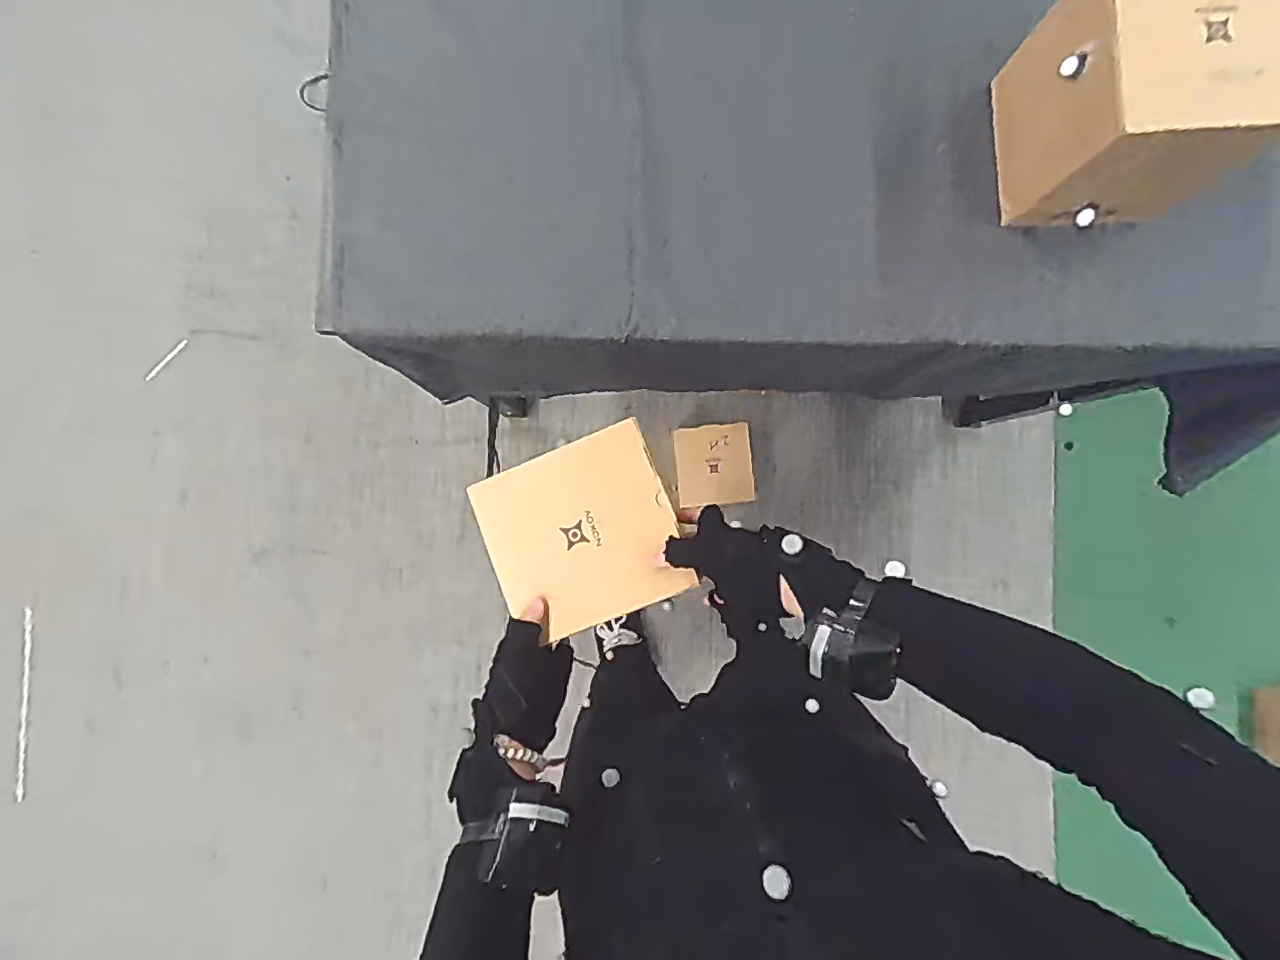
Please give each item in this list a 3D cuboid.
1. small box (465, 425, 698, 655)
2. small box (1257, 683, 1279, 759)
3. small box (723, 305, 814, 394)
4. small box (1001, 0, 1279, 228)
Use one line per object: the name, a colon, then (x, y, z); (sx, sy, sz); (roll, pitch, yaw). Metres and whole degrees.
small box: (-0.048, 0.064, 0.569); (0.179, 0.176, 0.168); (-22, 81, 5)
small box: (1.546, 0.562, 1.203); (0.179, 0.176, 0.168); (0, 88, 2)
small box: (0.291, -0.296, 1.249); (0.179, 0.176, 0.168); (-1, 88, 2)
small box: (0.482, -0.371, 0.522); (0.168, 0.176, 0.179); (-2, 88, 2)
